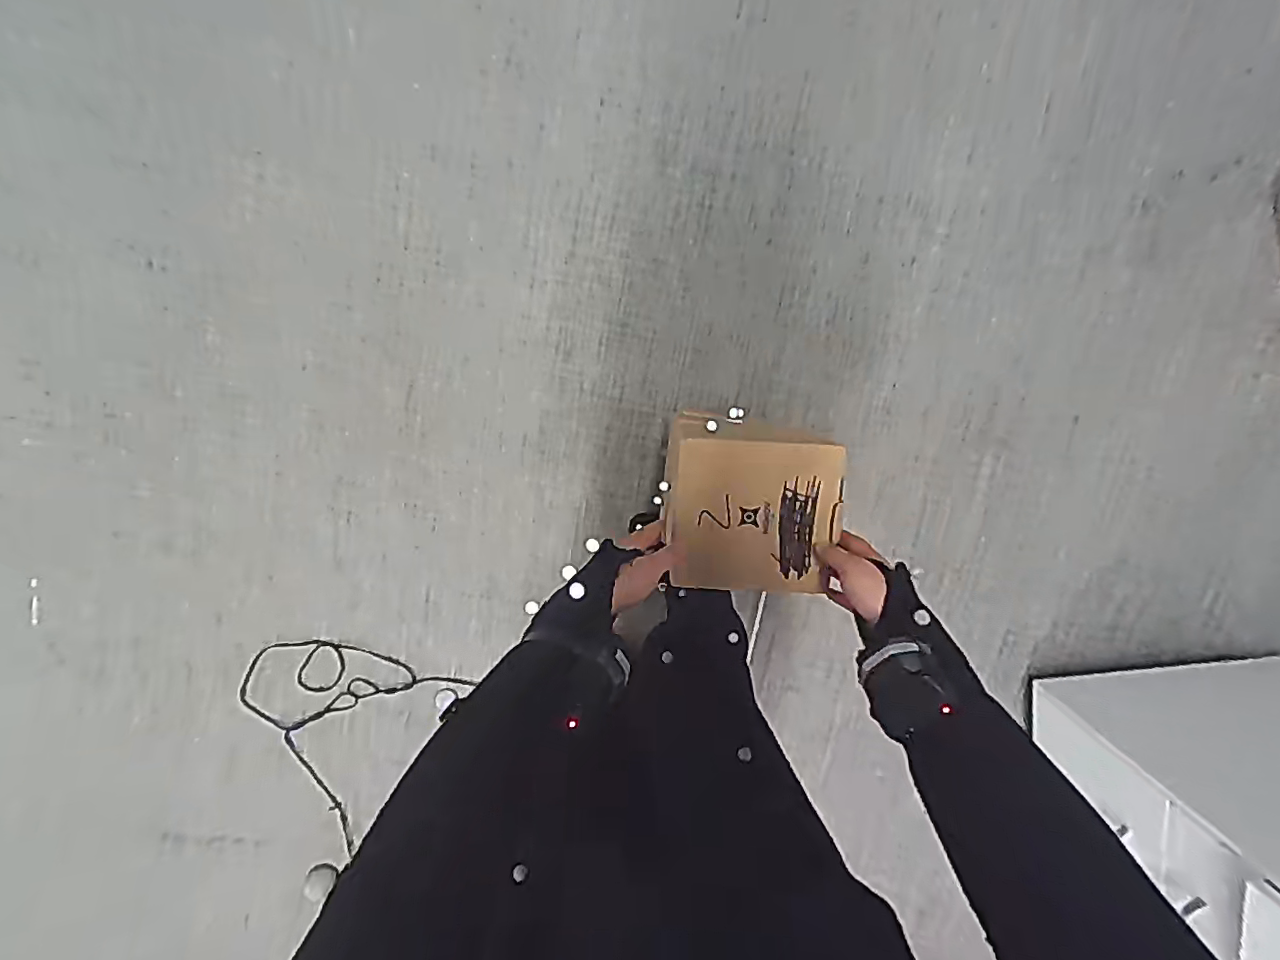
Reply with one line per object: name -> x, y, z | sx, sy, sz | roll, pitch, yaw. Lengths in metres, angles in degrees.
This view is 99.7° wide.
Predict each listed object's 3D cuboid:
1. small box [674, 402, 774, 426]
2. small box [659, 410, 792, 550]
small box -> 0.134, -0.040, 0.984 | 0.168, 0.176, 0.179 | 8, 102, 0
small box -> 0.118, -0.009, 0.825 | 0.168, 0.176, 0.179 | 5, 100, -1
